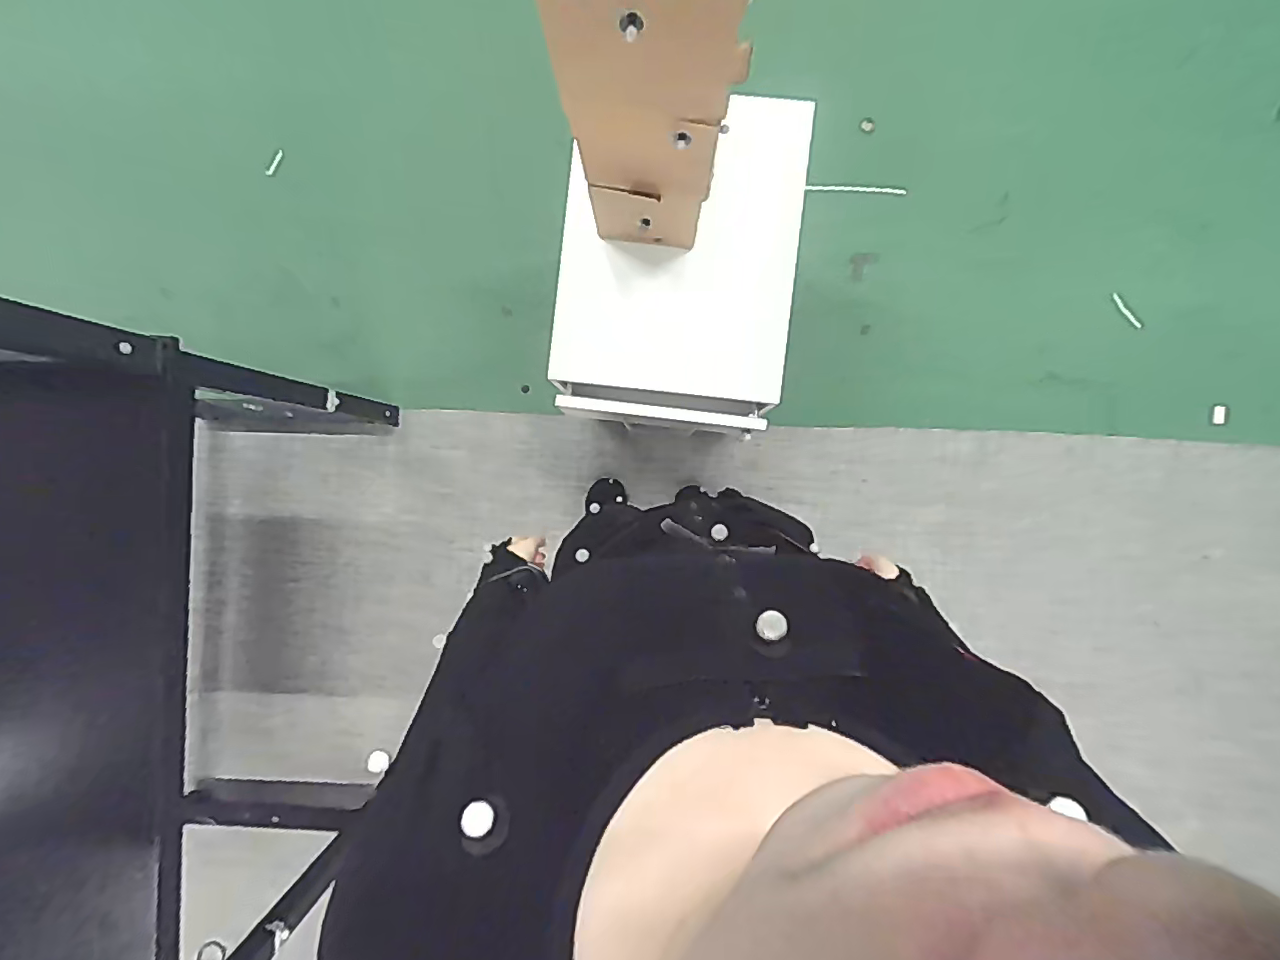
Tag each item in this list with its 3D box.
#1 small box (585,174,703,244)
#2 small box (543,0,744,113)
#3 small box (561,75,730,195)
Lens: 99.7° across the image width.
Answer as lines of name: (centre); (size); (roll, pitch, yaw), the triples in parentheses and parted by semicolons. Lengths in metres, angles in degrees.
small box: (0.018, -0.480, 0.815); (0.168, 0.176, 0.179); (7, 91, 1)
small box: (0.006, -0.467, 0.489); (0.179, 0.176, 0.168); (3, 91, 1)
small box: (0.016, -0.474, 0.653); (0.179, 0.176, 0.168); (10, 91, 1)
